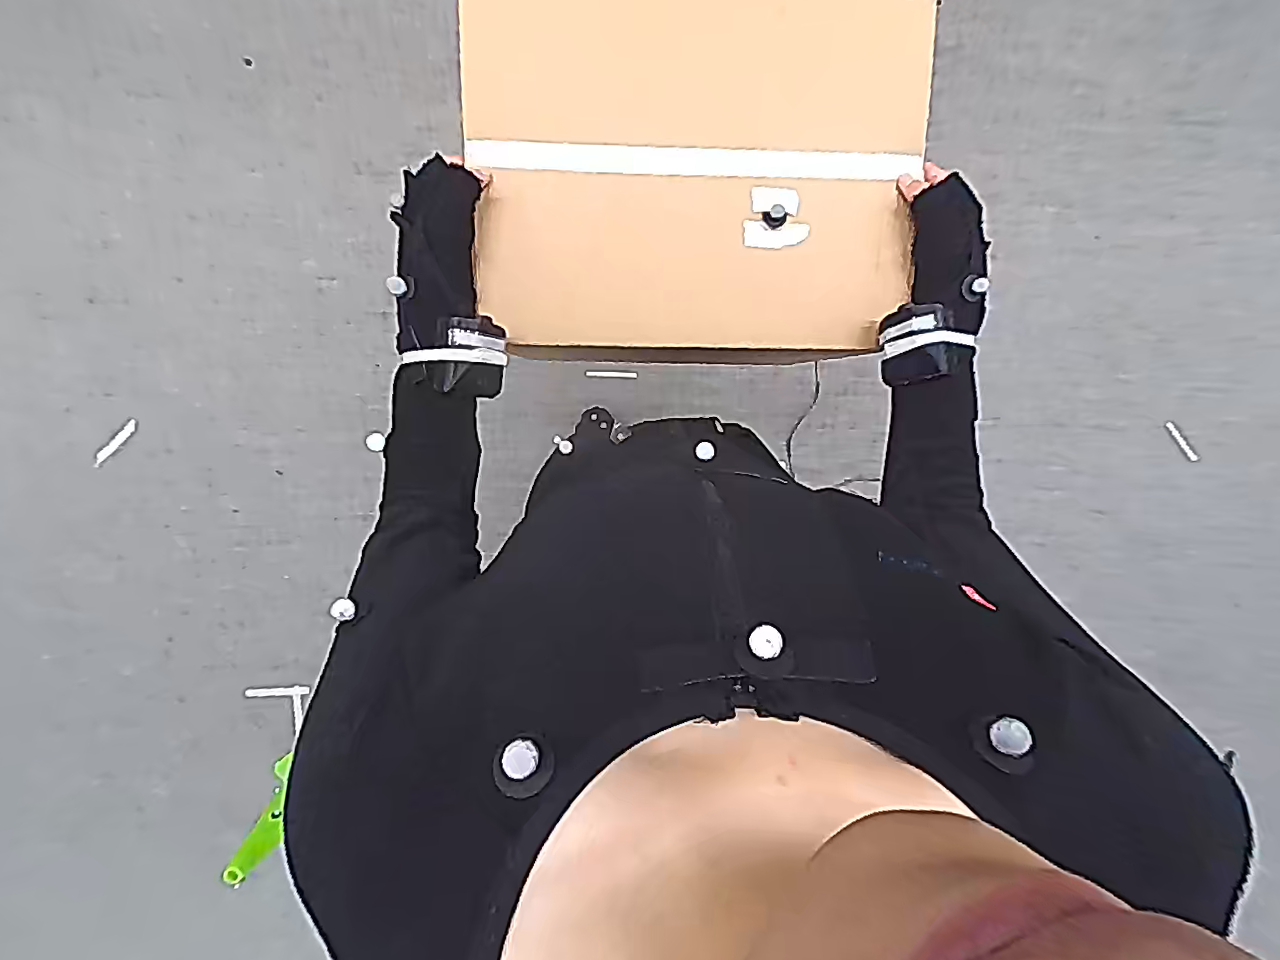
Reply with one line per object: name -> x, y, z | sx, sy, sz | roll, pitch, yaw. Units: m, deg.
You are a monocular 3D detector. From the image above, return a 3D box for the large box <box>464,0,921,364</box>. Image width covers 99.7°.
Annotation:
large box -> 0.038, -0.303, 0.629 | 0.408, 0.320, 0.320 | 0, 100, -5

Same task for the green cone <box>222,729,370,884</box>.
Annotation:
green cone -> -0.889, 0.840, 1.354 | 0.202, 0.368, 0.200 | -37, 94, 3
